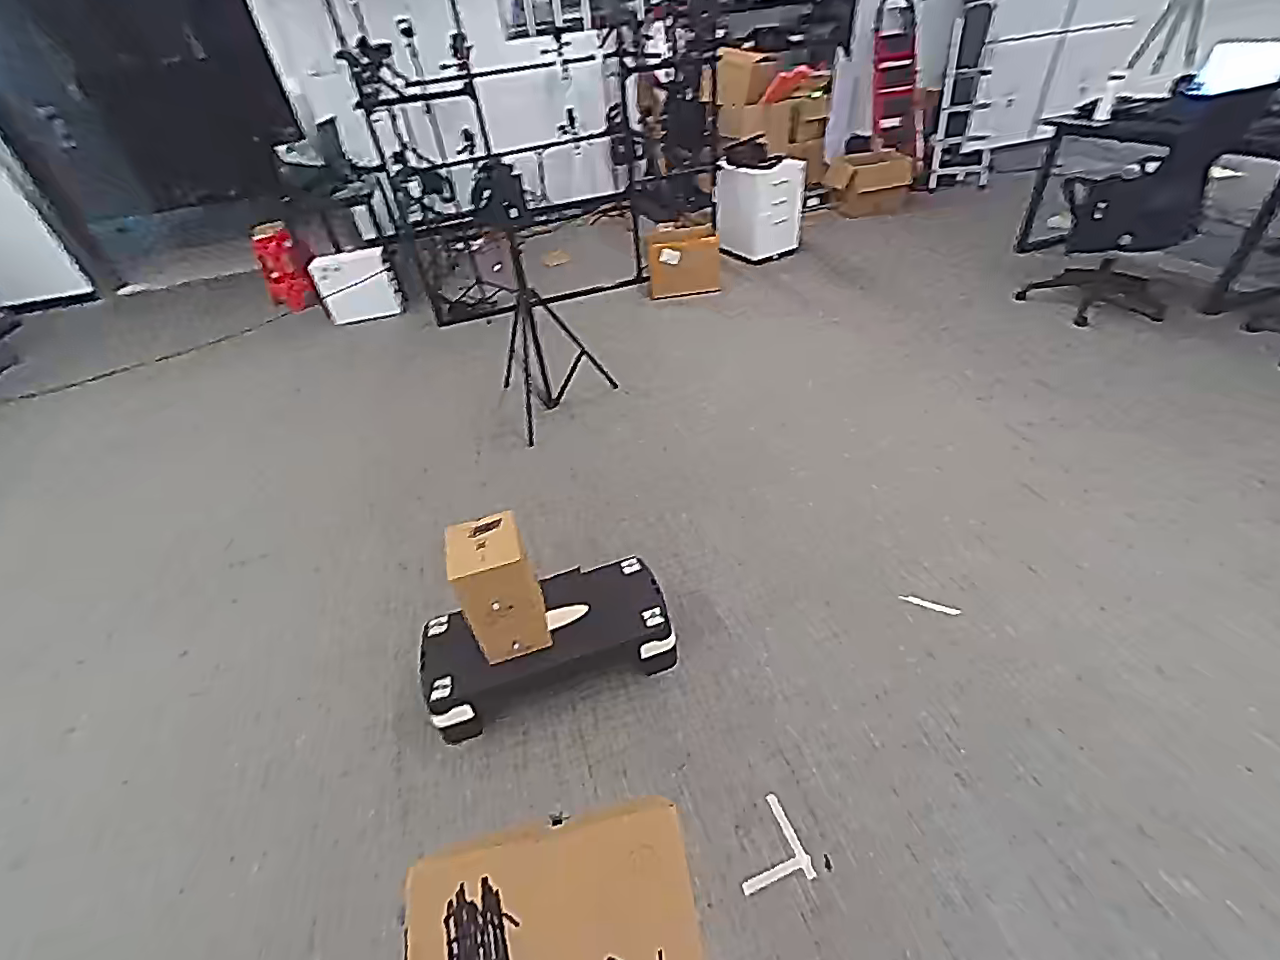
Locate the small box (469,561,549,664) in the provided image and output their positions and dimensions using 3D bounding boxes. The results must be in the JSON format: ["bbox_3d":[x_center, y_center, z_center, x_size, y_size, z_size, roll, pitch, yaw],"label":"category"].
[{"bbox_3d":[-0.342,0.344,1.408,0.168,0.176,0.179,-16,40,-9],"label":"small box"}]

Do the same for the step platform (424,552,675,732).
[{"bbox_3d":[-0.252,0.445,1.546,0.684,0.204,0.286,-17,40,-10],"label":"step platform"}]

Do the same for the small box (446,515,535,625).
[{"bbox_3d":[-0.361,0.217,1.306,0.168,0.176,0.179,-16,40,-10],"label":"small box"}]
